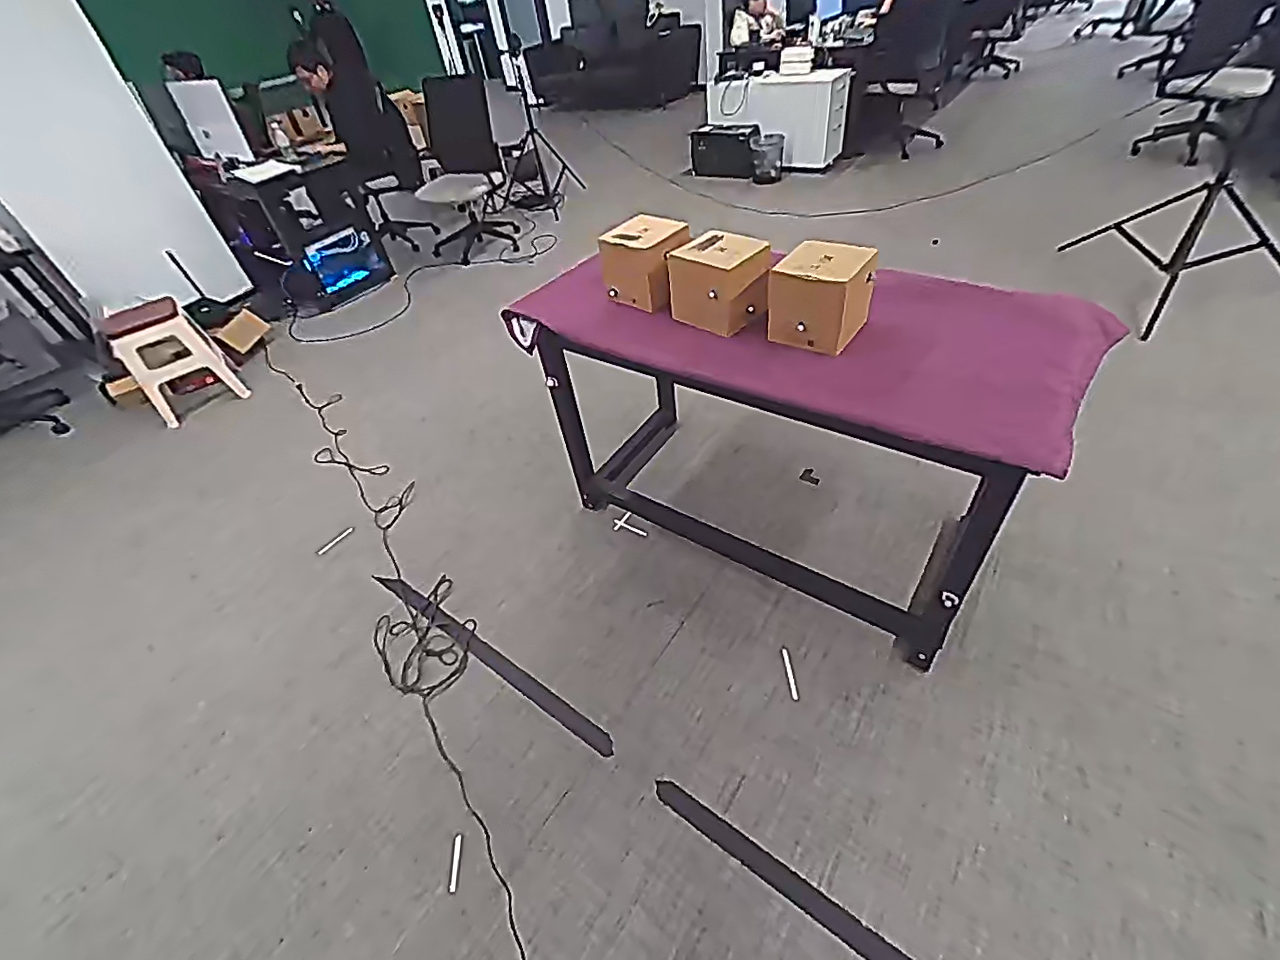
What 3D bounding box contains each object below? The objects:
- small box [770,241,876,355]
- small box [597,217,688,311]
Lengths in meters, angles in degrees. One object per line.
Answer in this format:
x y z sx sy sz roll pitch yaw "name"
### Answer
0.396 -0.403 1.195 0.168 0.176 0.179 23 52 30 "small box"
0.016 -0.570 1.432 0.168 0.176 0.179 28 55 32 "small box"
